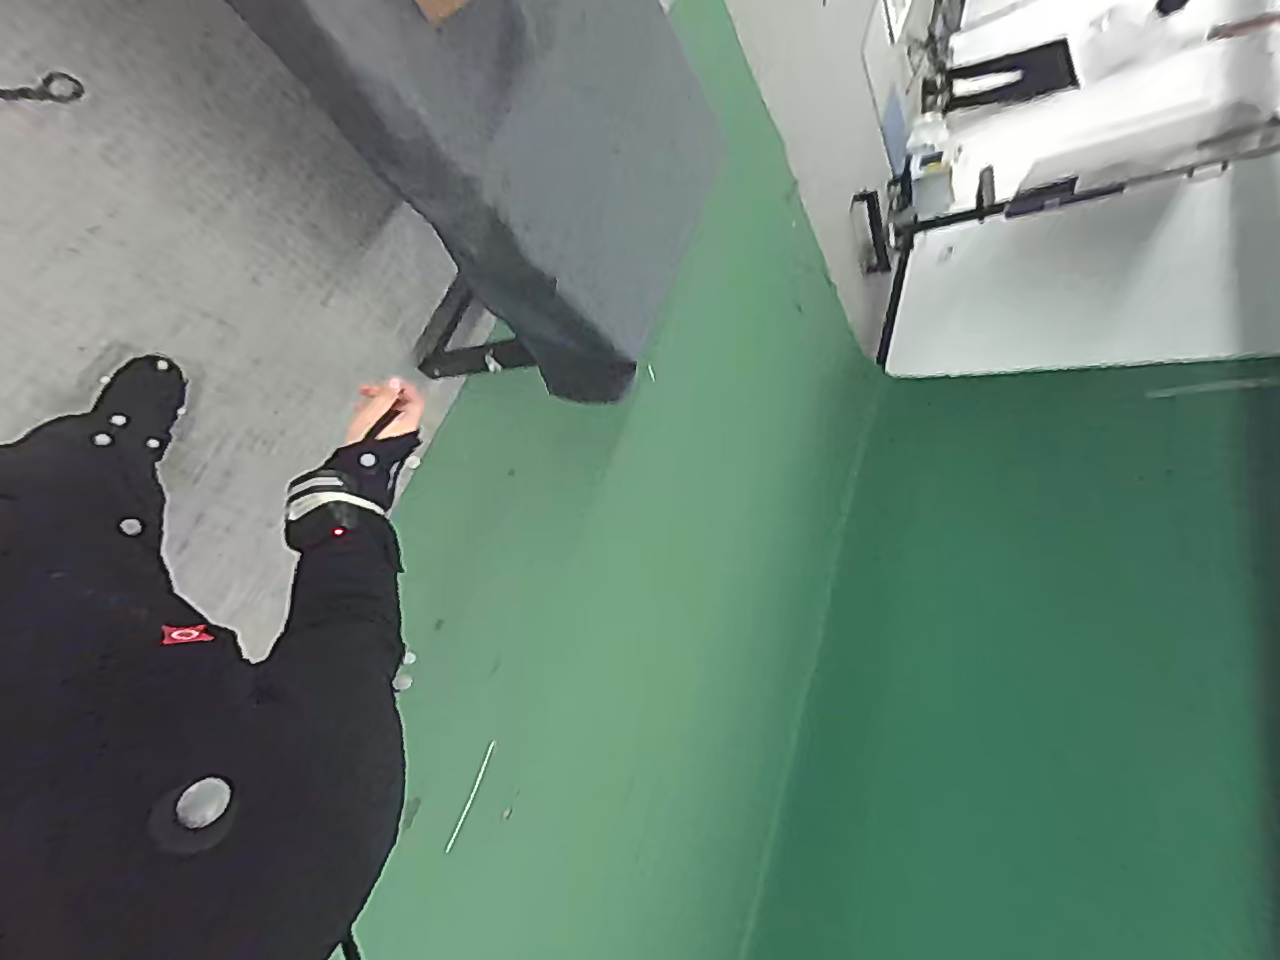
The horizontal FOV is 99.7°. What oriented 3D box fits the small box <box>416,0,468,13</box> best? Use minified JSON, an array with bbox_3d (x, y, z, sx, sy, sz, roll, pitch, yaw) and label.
[{"bbox_3d":[-0.209,-0.685,0.615,0.179,0.176,0.168,51,54,-39],"label":"small box"}]
